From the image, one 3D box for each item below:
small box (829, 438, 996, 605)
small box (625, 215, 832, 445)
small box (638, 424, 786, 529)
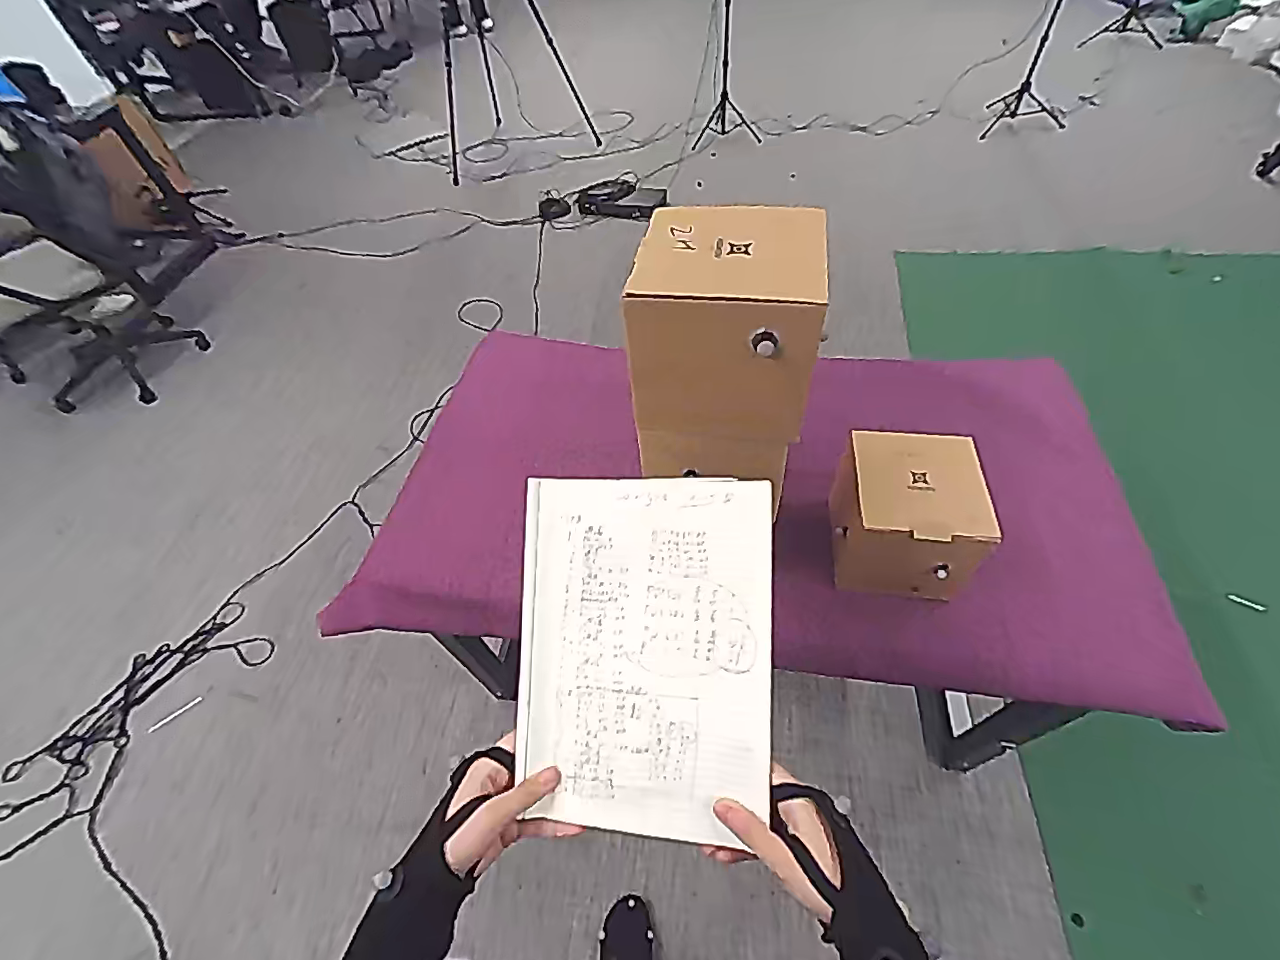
[{"bbox_3d":[0.379,0.063,0.787,0.168,0.176,0.179,5,51,9],"label":"small box"},{"bbox_3d":[0.093,-0.154,0.566,0.179,0.176,0.168,6,51,11],"label":"small box"},{"bbox_3d":[0.098,-0.055,0.699,0.168,0.176,0.179,5,51,10],"label":"small box"}]
